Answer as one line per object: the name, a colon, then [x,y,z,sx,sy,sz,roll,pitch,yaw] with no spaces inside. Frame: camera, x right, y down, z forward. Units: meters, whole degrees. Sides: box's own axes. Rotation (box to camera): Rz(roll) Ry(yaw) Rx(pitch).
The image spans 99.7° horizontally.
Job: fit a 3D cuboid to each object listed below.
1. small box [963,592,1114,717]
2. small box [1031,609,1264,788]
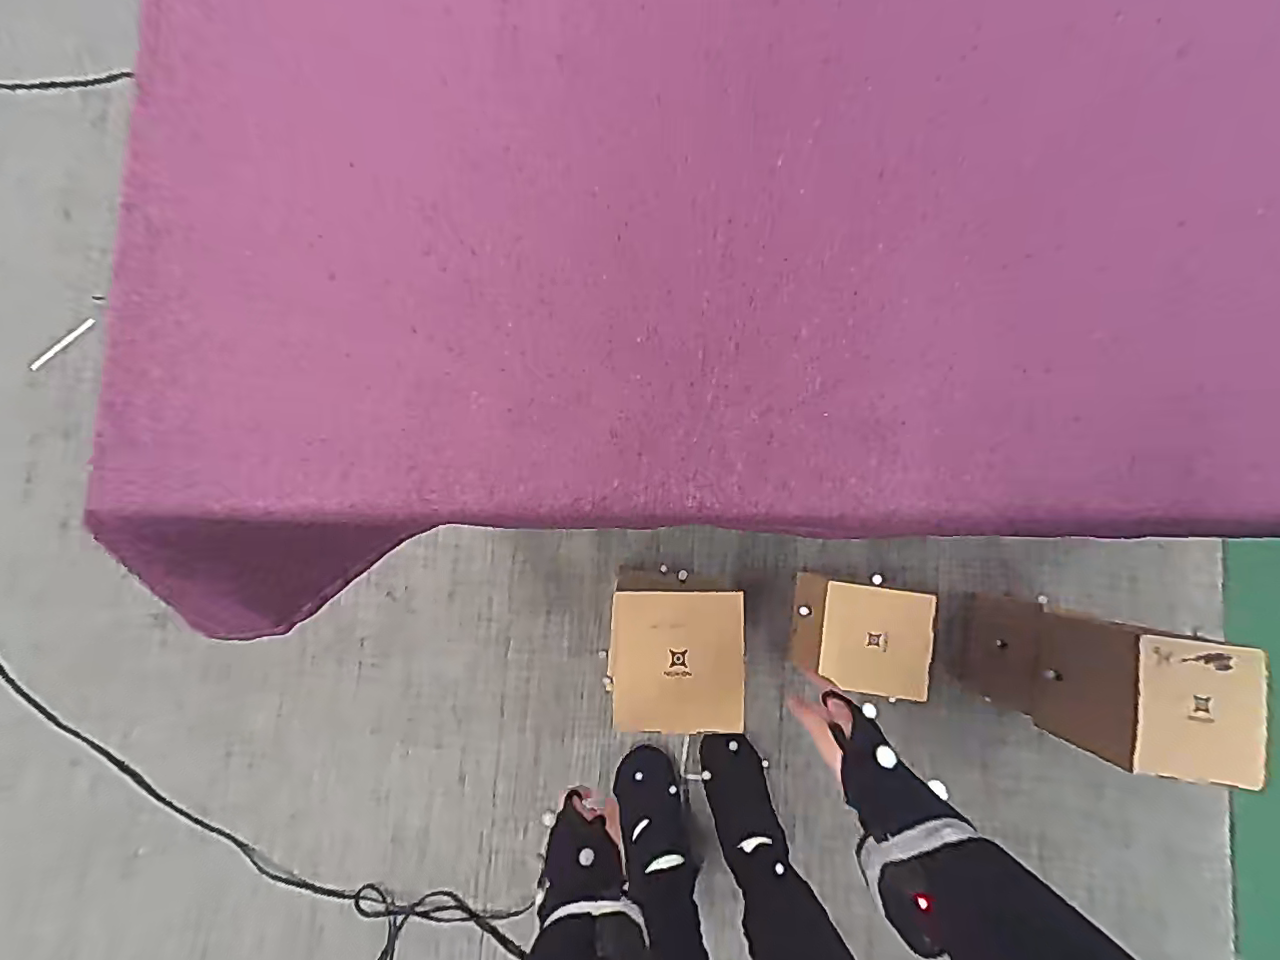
small box: [0.685,0.301,0.922,0.168,0.176,0.179,12,84,0]
small box: [0.691,0.292,0.756,0.168,0.176,0.179,9,86,-2]
